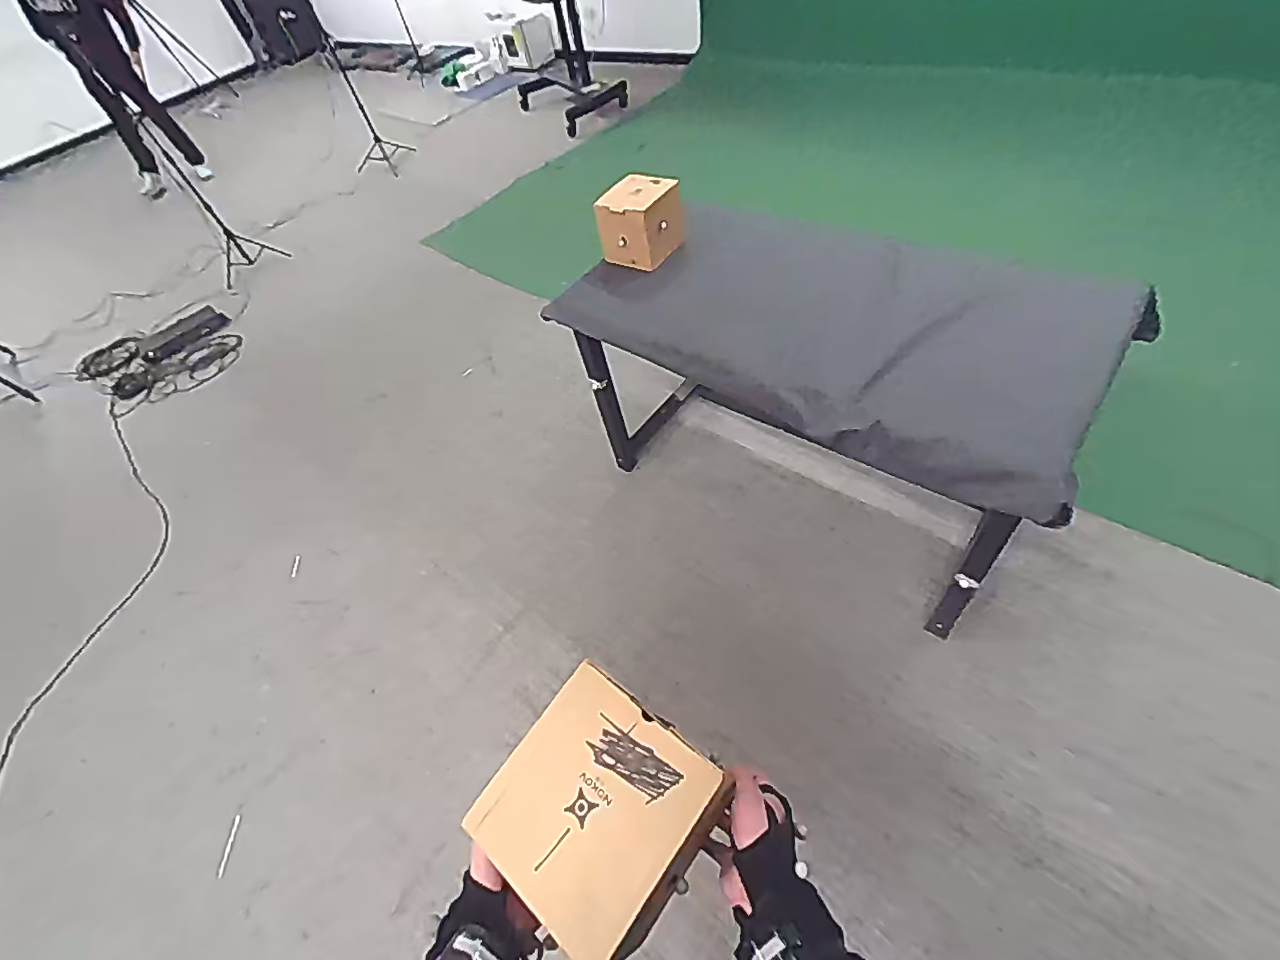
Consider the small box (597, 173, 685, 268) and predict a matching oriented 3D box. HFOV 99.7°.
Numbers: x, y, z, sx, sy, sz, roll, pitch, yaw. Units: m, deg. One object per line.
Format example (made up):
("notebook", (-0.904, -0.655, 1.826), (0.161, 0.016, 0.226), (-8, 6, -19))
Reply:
("small box", (0.012, -0.712, 1.489), (0.168, 0.176, 0.179), (25, 62, 28))
